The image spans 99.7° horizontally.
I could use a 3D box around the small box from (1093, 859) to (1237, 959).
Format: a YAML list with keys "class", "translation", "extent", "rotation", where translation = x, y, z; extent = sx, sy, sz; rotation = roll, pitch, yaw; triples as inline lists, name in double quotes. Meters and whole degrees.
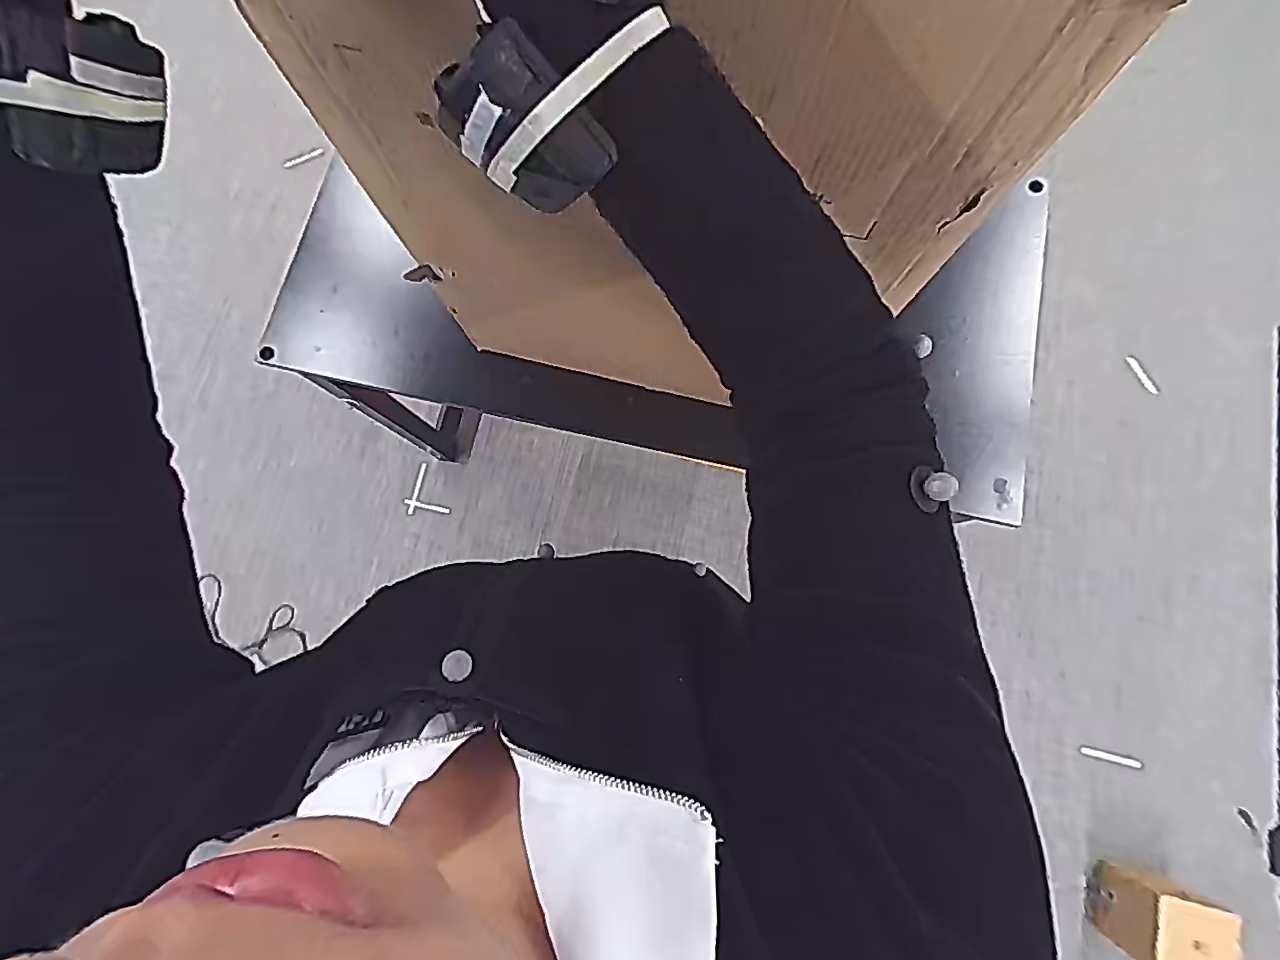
- class: "small box"
  translation: [1.222, 1.030, 1.267]
  extent: [0.179, 0.176, 0.168]
  rotation: [13, 78, 4]
